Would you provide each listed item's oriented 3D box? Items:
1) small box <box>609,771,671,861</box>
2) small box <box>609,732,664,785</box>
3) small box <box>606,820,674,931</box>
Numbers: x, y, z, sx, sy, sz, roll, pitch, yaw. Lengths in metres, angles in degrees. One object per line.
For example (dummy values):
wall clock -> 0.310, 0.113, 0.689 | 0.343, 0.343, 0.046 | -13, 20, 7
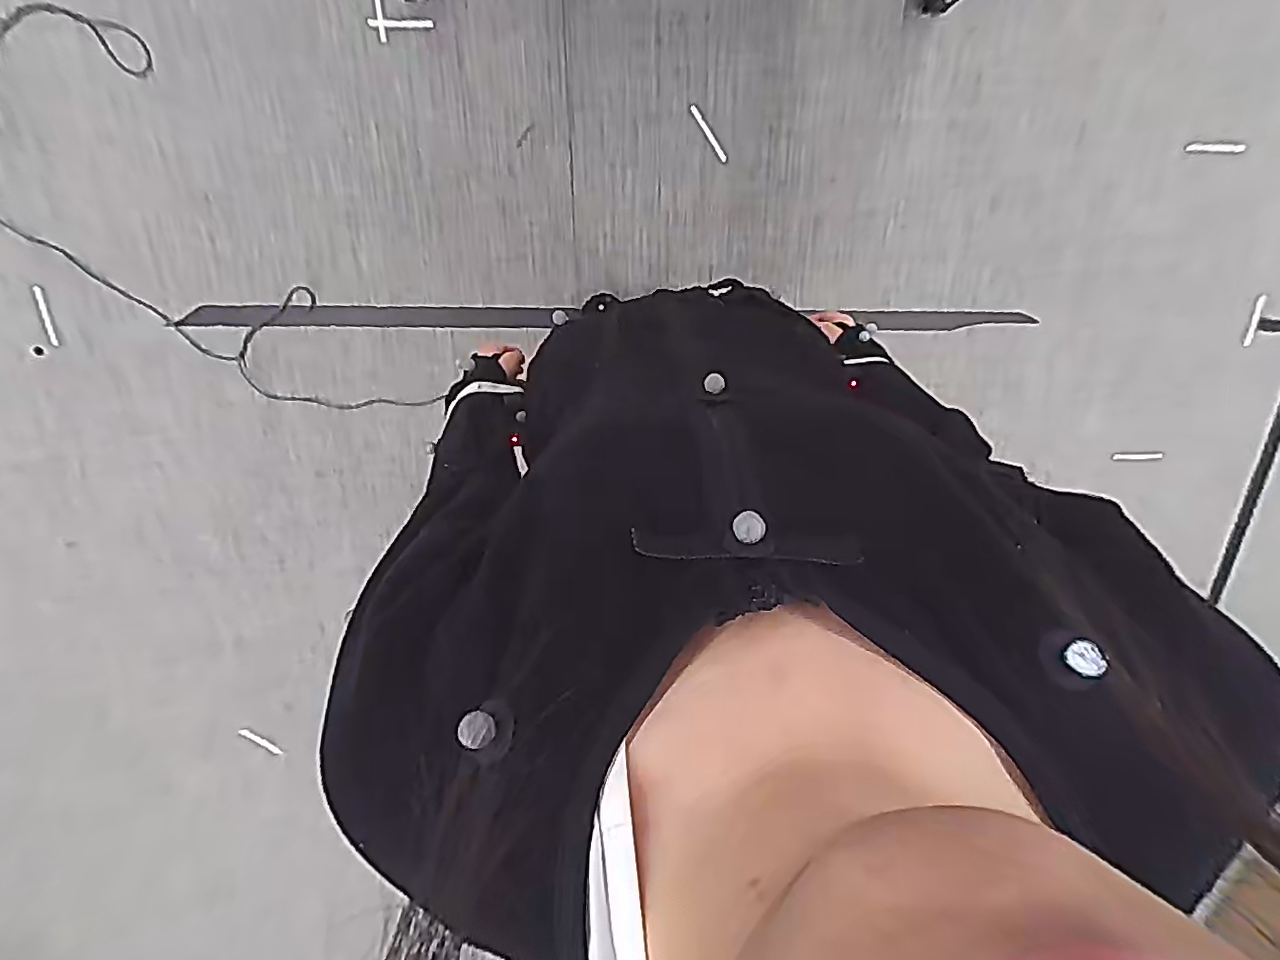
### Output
small box -> -0.001, 1.007, 1.612 | 0.168, 0.176, 0.179 | -7, 110, -2
small box -> -0.012, 0.950, 1.765 | 0.168, 0.176, 0.179 | -5, 109, -2
small box -> -0.001, 1.060, 1.456 | 0.168, 0.176, 0.179 | -6, 109, -1
